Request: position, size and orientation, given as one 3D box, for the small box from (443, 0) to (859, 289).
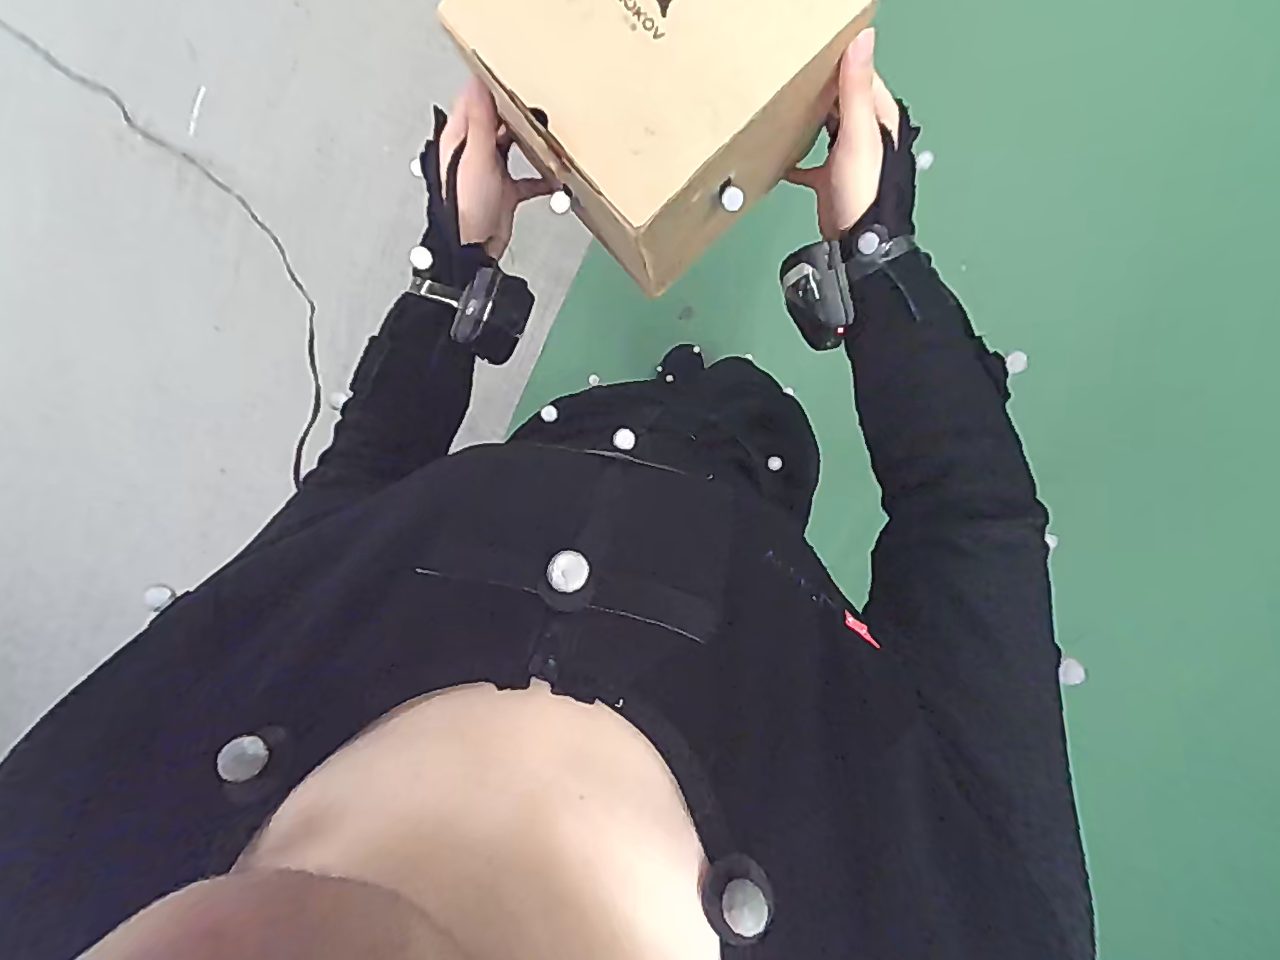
[{"bbox_3d":[0.011,-0.263,0.374,0.179,0.176,0.168,-44,91,9],"label":"small box"}]
